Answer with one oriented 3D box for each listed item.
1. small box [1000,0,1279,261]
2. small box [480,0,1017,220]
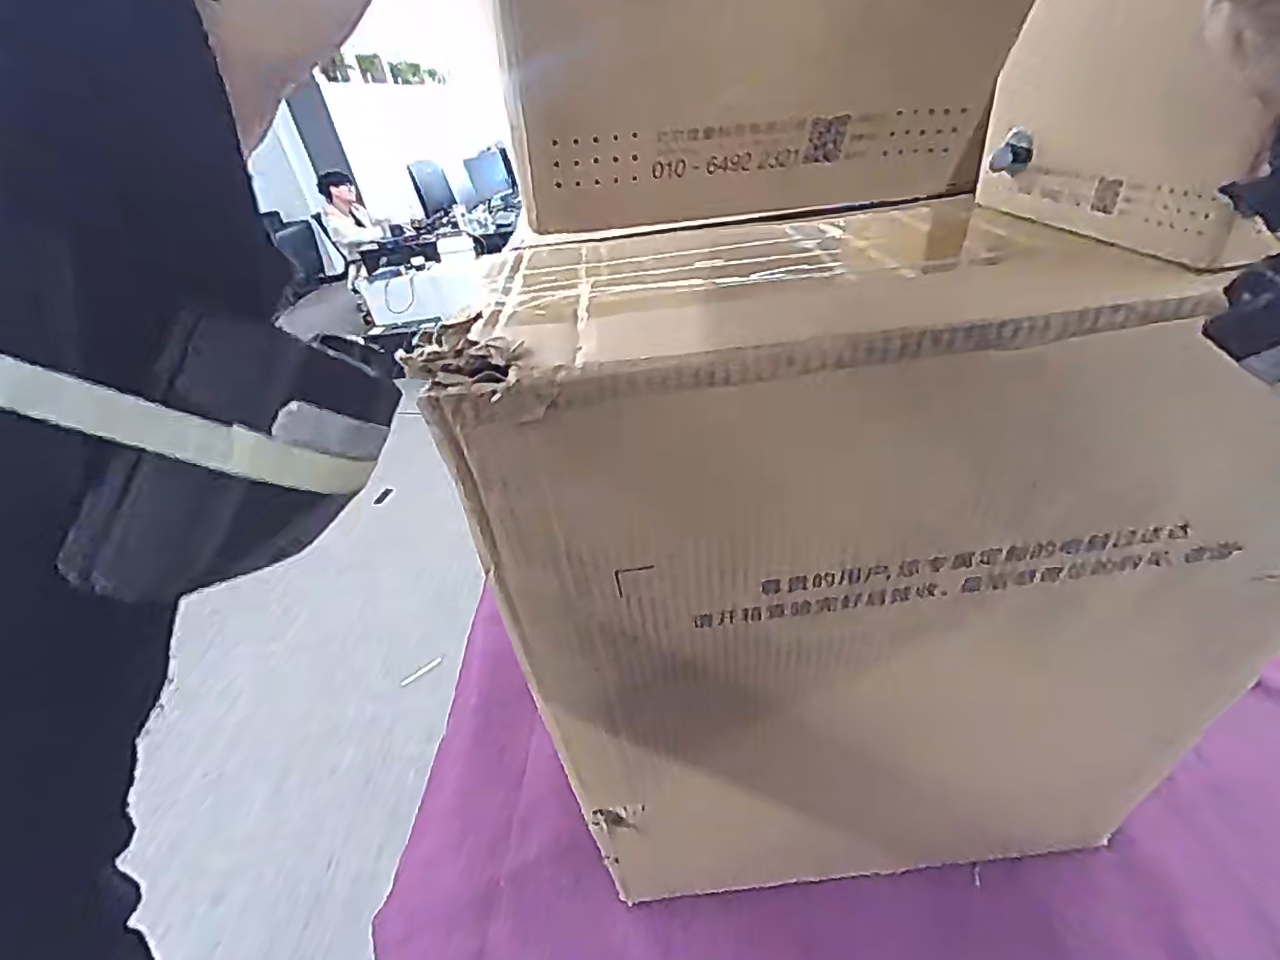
[{"bbox_3d":[0.294,-0.208,0.236,0.179,0.176,0.168,-10,36,1],"label":"small box"},{"bbox_3d":[0.025,-0.209,0.186,0.168,0.176,0.179,-12,55,-11],"label":"small box"}]
